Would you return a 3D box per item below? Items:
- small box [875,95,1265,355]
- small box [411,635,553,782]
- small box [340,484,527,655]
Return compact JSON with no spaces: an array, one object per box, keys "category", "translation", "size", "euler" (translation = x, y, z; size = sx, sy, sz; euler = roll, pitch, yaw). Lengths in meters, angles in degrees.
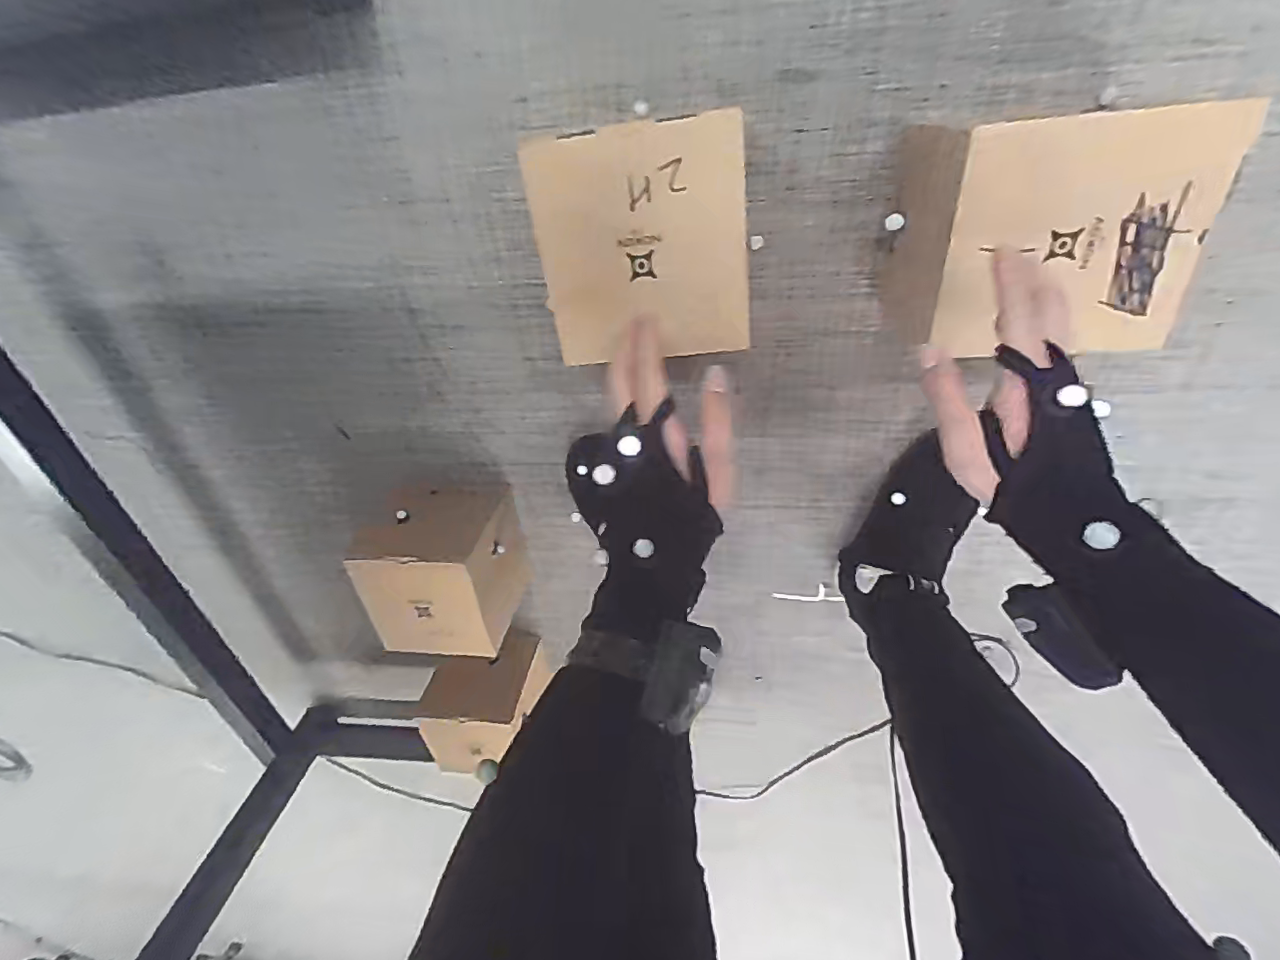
[{"category":"small box","translation":[0.316,-0.215,0.453],"size":[0.179,0.176,0.168],"euler":[0,123,10]},{"category":"small box","translation":[-0.259,0.391,0.941],"size":[0.168,0.176,0.179],"euler":[-1,123,9]},{"category":"small box","translation":[-0.273,0.120,0.762],"size":[0.168,0.176,0.179],"euler":[1,124,9]}]
